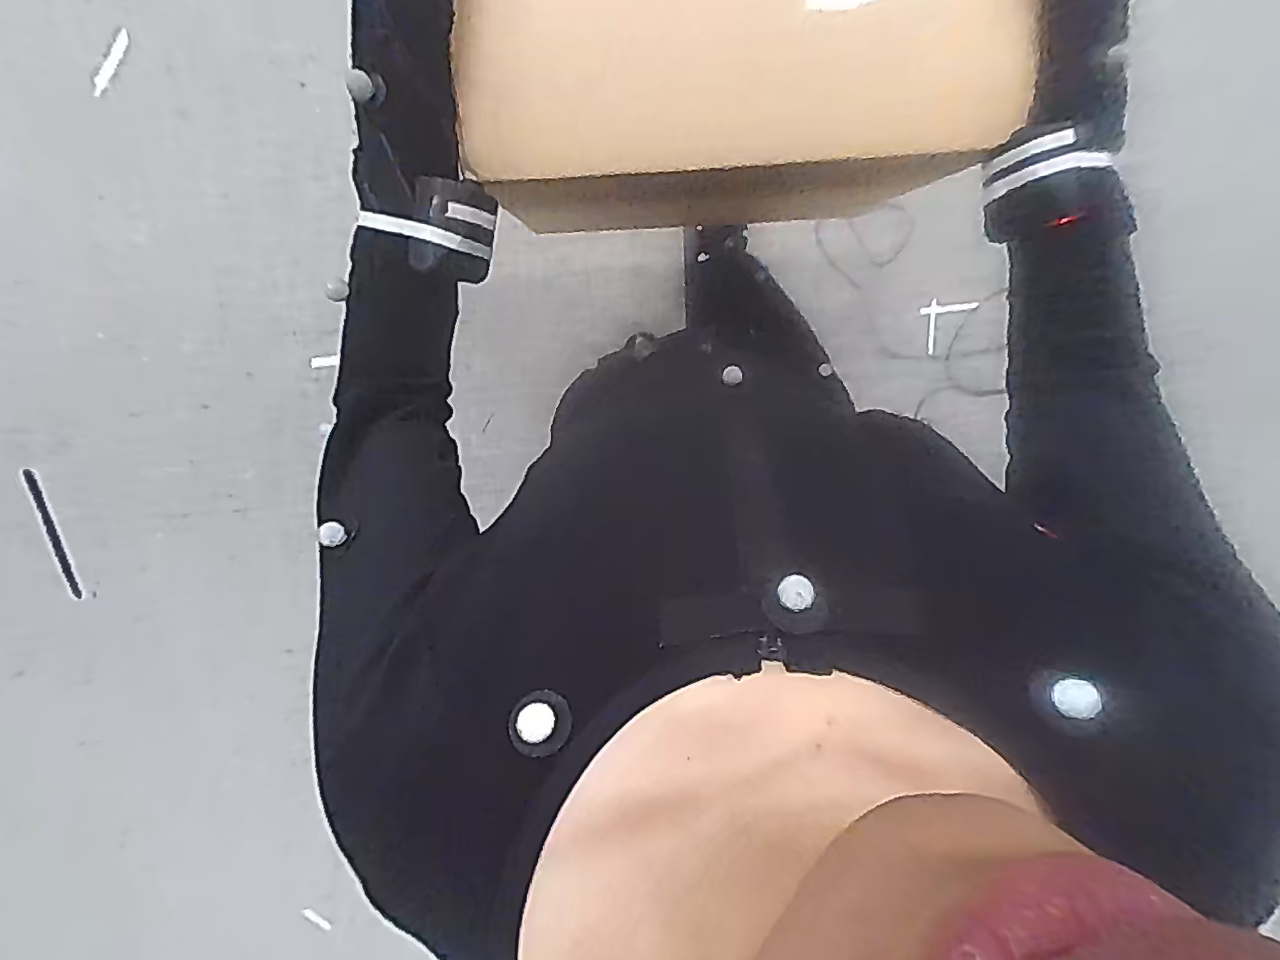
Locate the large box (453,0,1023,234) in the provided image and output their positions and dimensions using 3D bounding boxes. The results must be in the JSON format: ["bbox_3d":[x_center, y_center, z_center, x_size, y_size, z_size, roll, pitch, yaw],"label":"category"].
[{"bbox_3d":[0.060,-0.431,0.498,0.408,0.320,0.320,-4,108,-1],"label":"large box"}]
